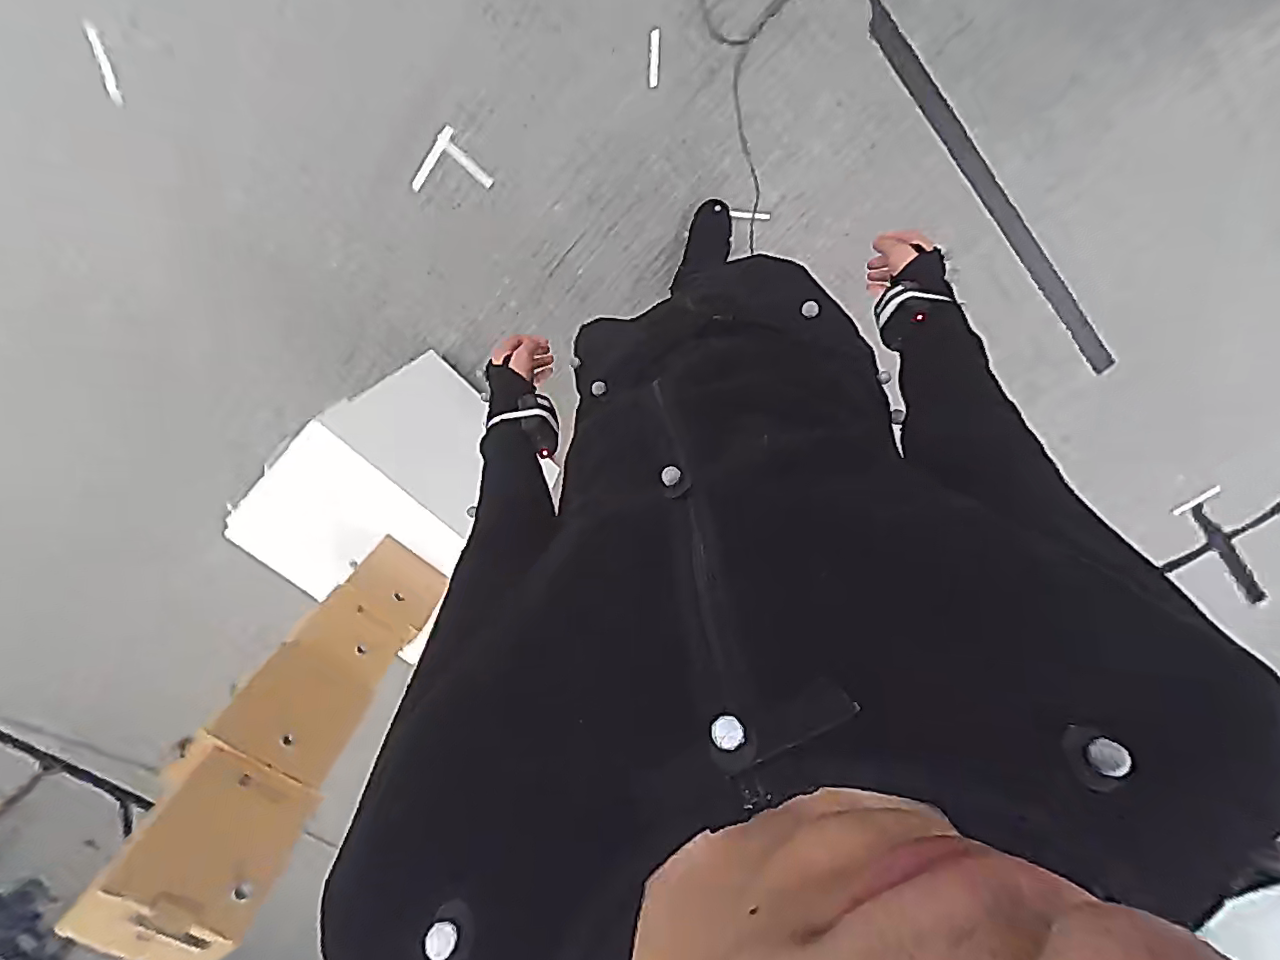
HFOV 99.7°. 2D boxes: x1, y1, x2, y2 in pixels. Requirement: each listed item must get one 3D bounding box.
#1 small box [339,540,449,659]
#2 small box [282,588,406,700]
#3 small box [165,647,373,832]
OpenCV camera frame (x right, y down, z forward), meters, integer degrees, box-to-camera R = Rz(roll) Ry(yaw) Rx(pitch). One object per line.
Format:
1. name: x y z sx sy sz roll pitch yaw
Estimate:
1. small box: -0.536 0.259 1.136 0.179 0.176 0.168 42 112 -16
2. small box: -0.563 0.334 0.994 0.179 0.176 0.168 -41 108 22
3. small box: -0.559 0.397 0.841 0.179 0.176 0.168 42 112 -17
